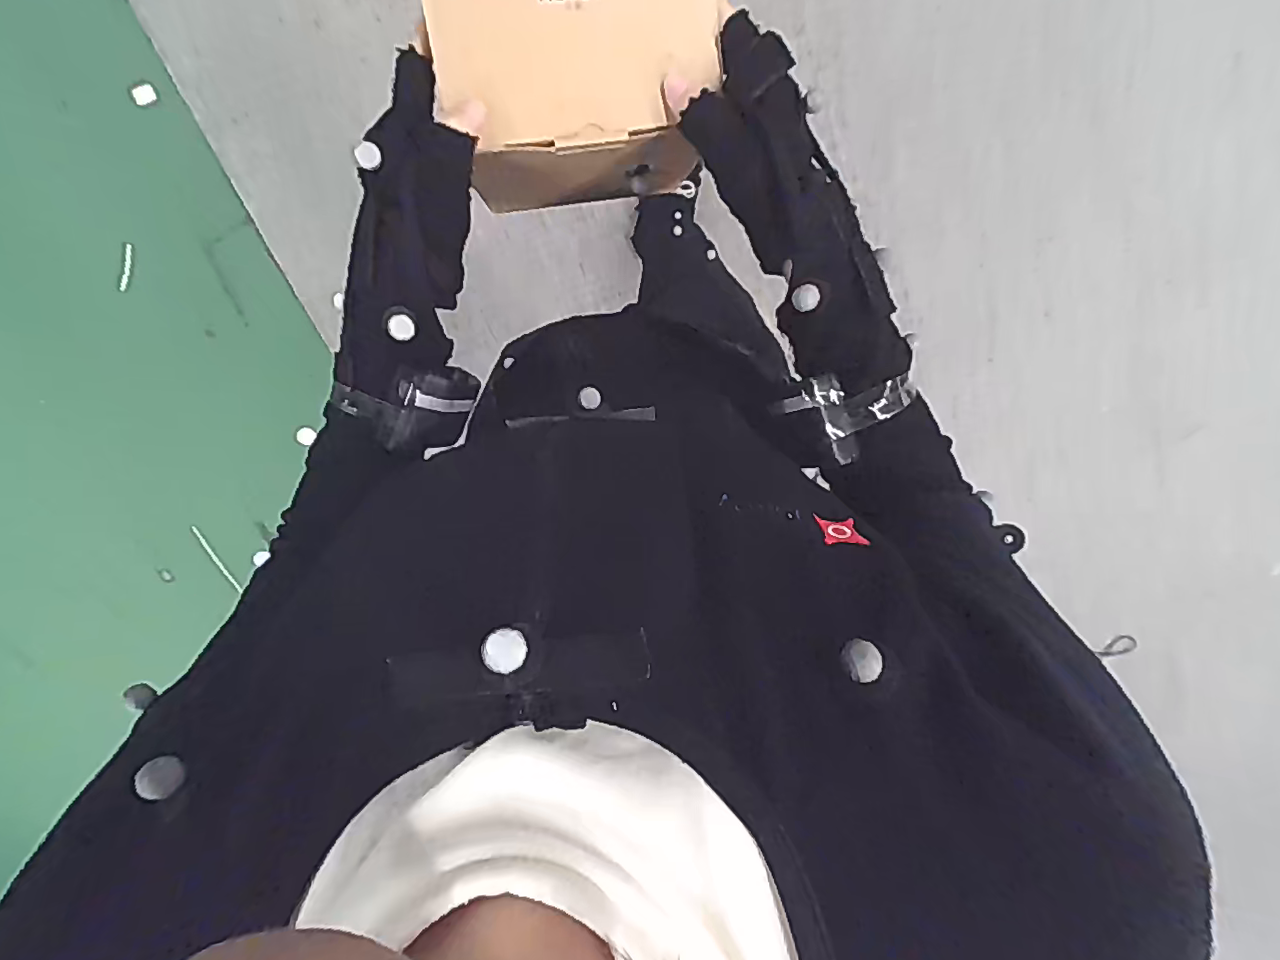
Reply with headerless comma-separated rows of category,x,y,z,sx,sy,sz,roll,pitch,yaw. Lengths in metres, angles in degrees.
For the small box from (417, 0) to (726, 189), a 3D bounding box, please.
small box,-0.050,-0.313,0.363,0.168,0.176,0.179,-13,108,-2
